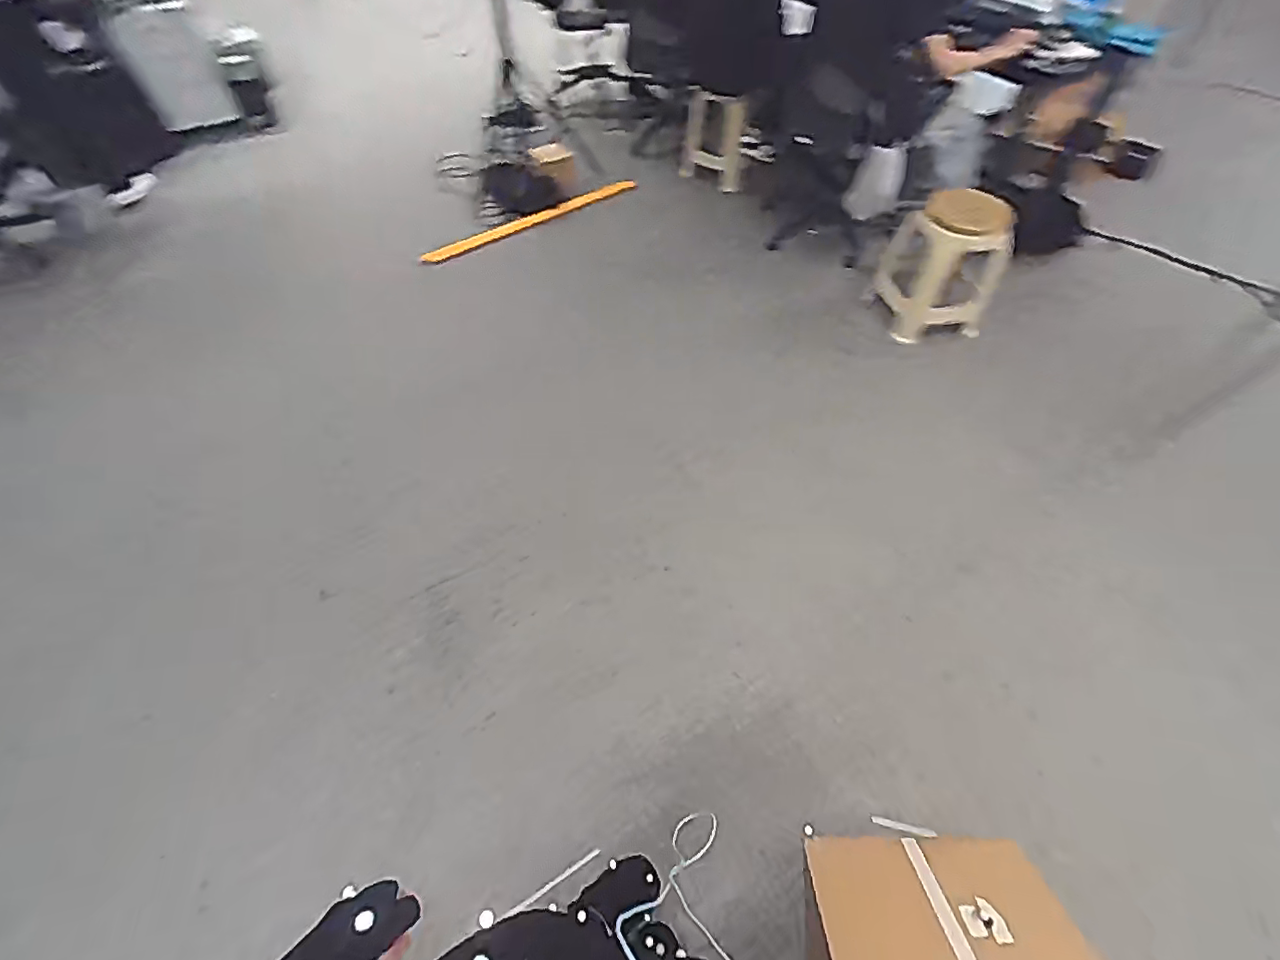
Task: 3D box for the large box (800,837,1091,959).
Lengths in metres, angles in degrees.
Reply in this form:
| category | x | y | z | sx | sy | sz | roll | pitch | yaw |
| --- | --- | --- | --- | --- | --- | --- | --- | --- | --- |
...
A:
| category | x | y | z | sx | sy | sz | roll | pitch | yaw |
| --- | --- | --- | --- | --- | --- | --- | --- | --- | --- |
| large box | 0.402 | 0.736 | 0.664 | 0.320 | 0.408 | 0.320 | -3 | 98 | 5 |
